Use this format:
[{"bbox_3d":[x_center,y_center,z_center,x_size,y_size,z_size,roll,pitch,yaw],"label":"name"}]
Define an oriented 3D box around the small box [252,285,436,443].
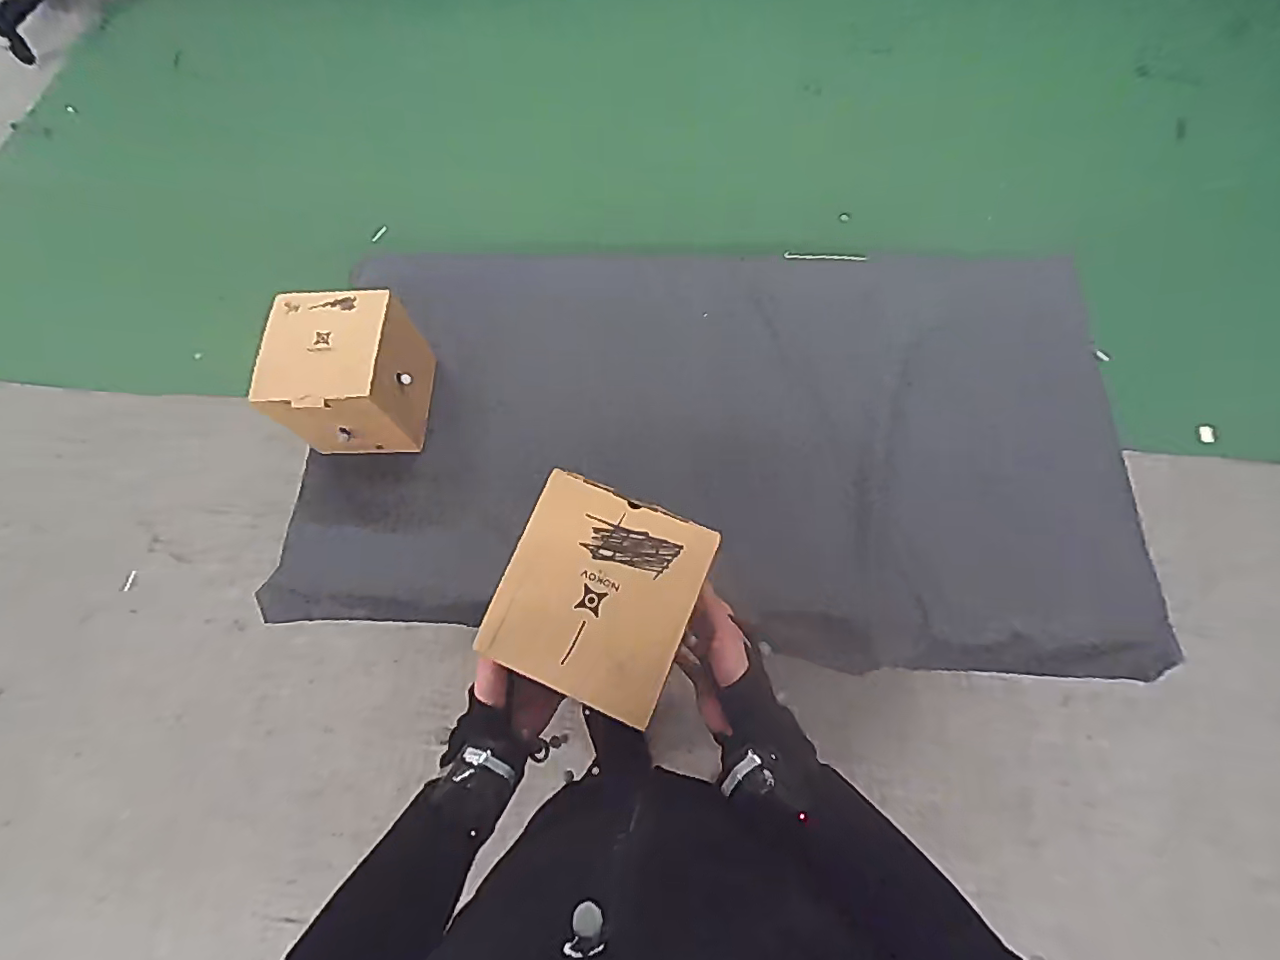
[{"bbox_3d":[-0.420,-0.160,0.800,0.168,0.176,0.179,-1,70,3],"label":"small box"}]
